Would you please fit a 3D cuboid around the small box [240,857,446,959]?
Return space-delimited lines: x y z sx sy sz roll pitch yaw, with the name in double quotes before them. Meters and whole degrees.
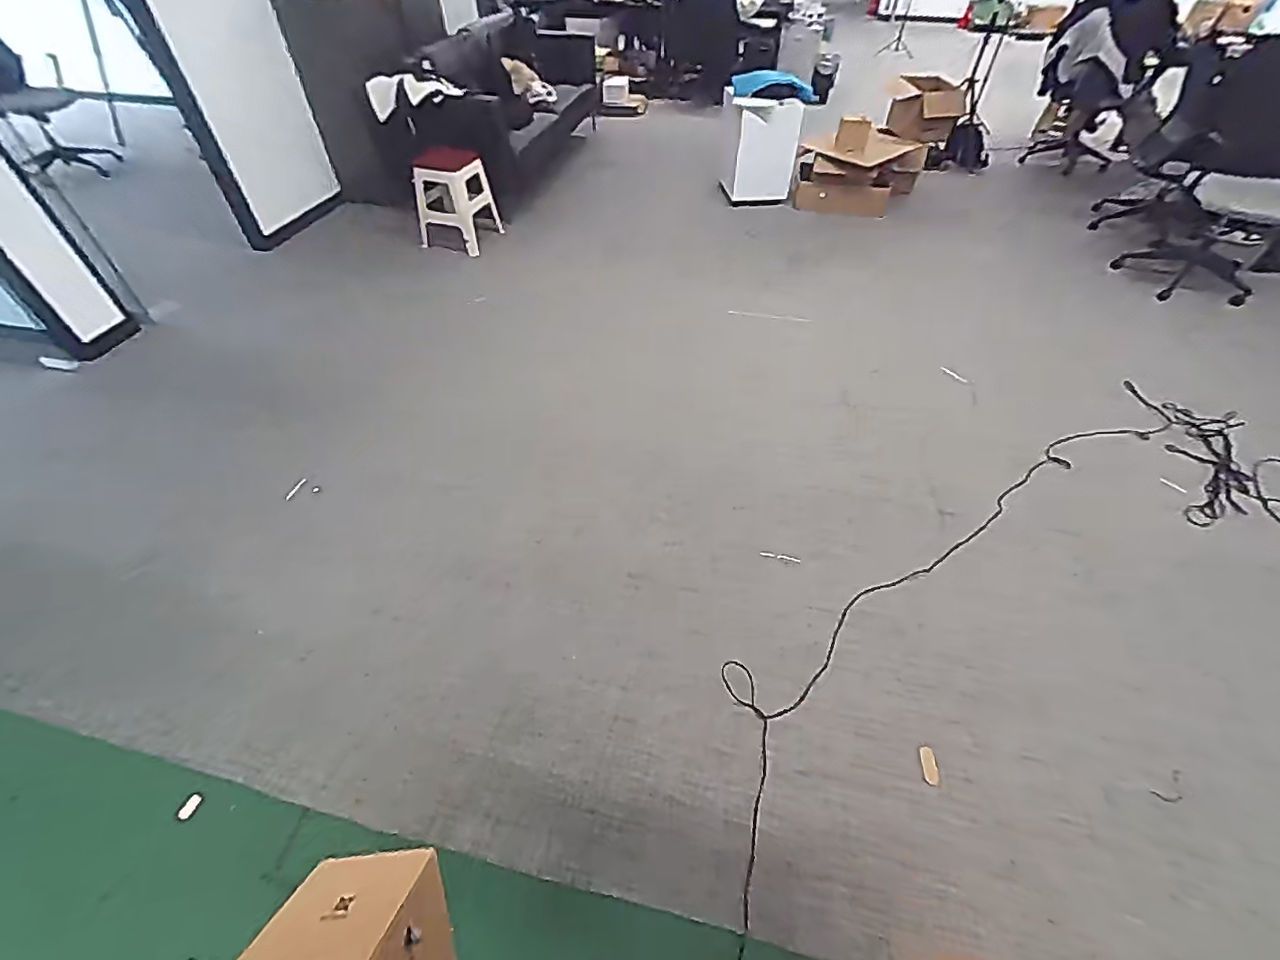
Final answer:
"small box" -0.354 0.610 0.664 0.168 0.176 0.179 -8 2 4
